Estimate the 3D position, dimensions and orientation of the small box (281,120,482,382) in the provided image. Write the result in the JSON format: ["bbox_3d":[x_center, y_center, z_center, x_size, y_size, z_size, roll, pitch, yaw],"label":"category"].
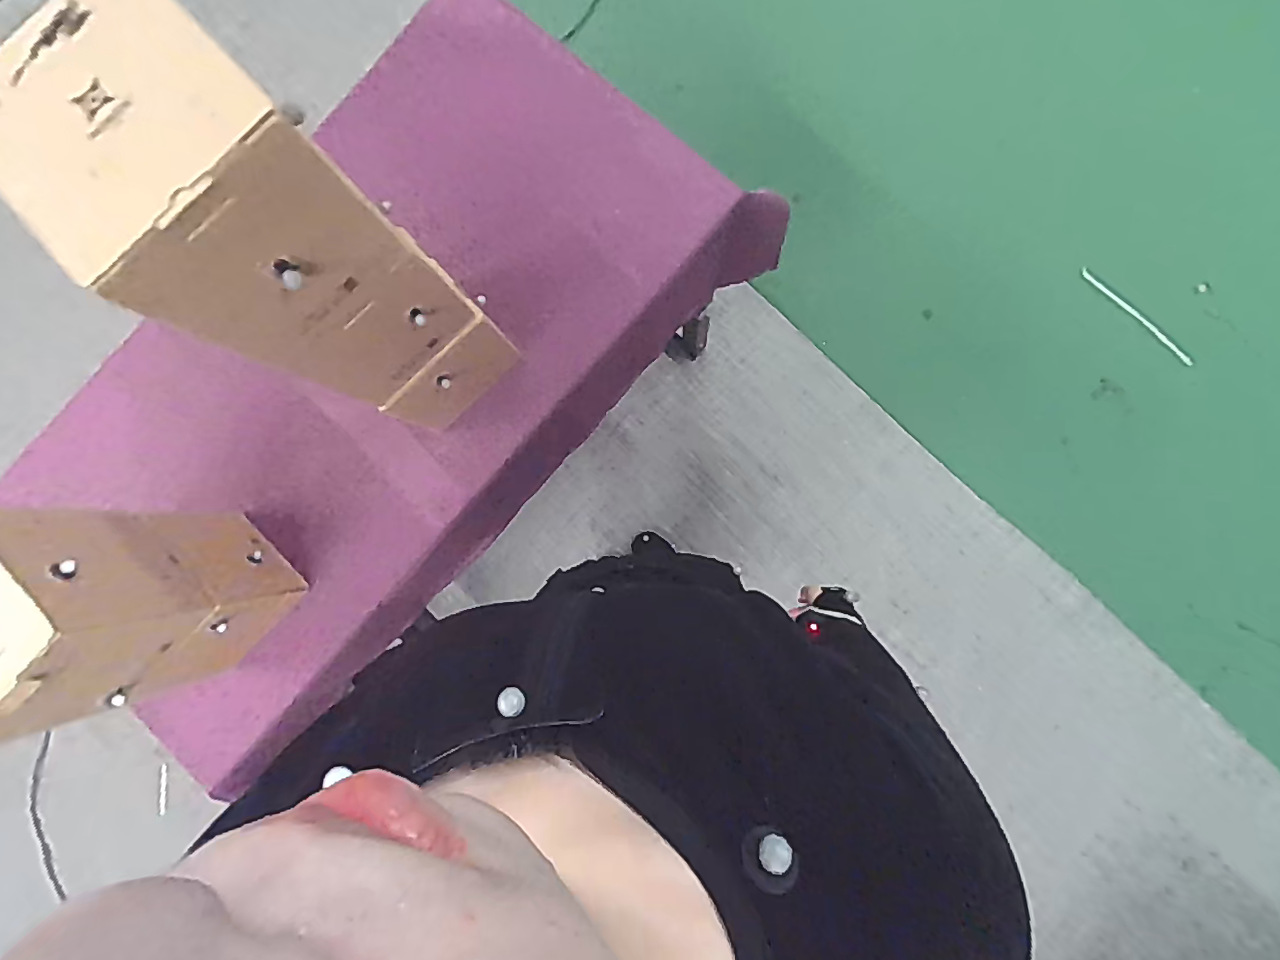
[{"bbox_3d":[-0.307,-0.227,0.593,0.168,0.176,0.179,-40,83,0],"label":"small box"}]

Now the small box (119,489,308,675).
[{"bbox_3d":[-0.621,0.135,0.756,0.179,0.176,0.168,-44,83,-1],"label":"small box"}]

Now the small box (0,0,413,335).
[{"bbox_3d":[-0.322,-0.239,0.430,0.168,0.176,0.179,-41,84,-1],"label":"small box"}]

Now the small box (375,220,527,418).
[{"bbox_3d":[-0.287,-0.208,0.754,0.179,0.176,0.168,-40,84,1],"label":"small box"}]
